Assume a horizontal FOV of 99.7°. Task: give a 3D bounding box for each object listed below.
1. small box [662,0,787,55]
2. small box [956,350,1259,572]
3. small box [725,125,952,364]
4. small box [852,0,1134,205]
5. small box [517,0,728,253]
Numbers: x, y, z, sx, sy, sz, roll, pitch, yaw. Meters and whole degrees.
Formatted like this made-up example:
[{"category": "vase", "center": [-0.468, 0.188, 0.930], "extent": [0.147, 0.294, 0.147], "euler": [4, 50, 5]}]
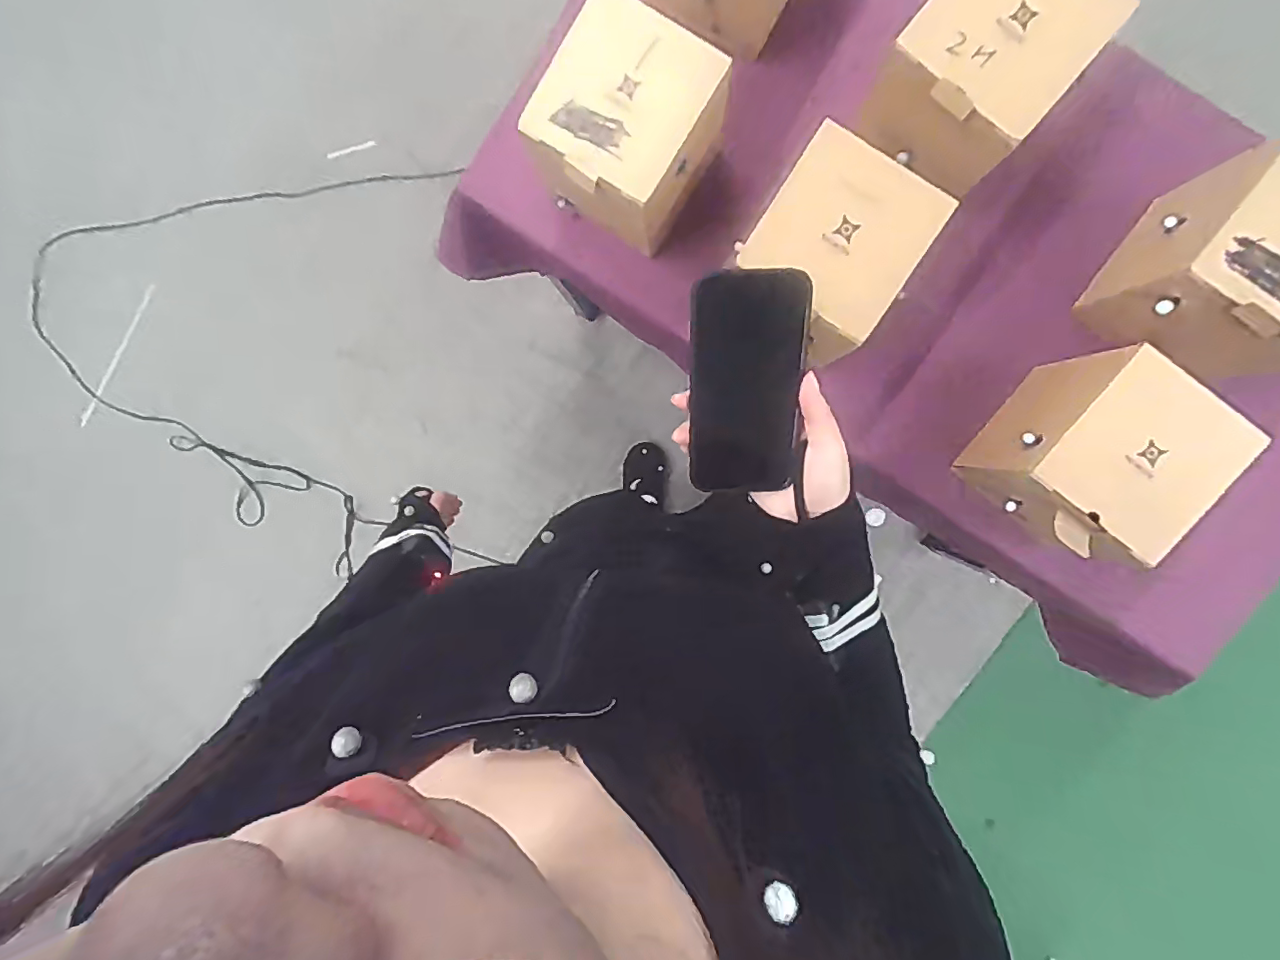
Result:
[{"category": "small box", "center": [0.117, -0.653, 0.622], "extent": [0.168, 0.176, 0.179], "euler": [30, 97, 0]}, {"category": "small box", "center": [0.527, -0.024, 0.642], "extent": [0.168, 0.176, 0.179], "euler": [39, 96, 1]}, {"category": "small box", "center": [0.216, -0.259, 0.646], "extent": [0.168, 0.176, 0.179], "euler": [34, 95, 0]}, {"category": "small box", "center": [0.378, -0.456, 0.620], "extent": [0.168, 0.176, 0.179], "euler": [41, 96, 1]}, {"category": "small box", "center": [-0.015, -0.408, 0.649], "extent": [0.168, 0.176, 0.179], "euler": [33, 94, 0]}]
